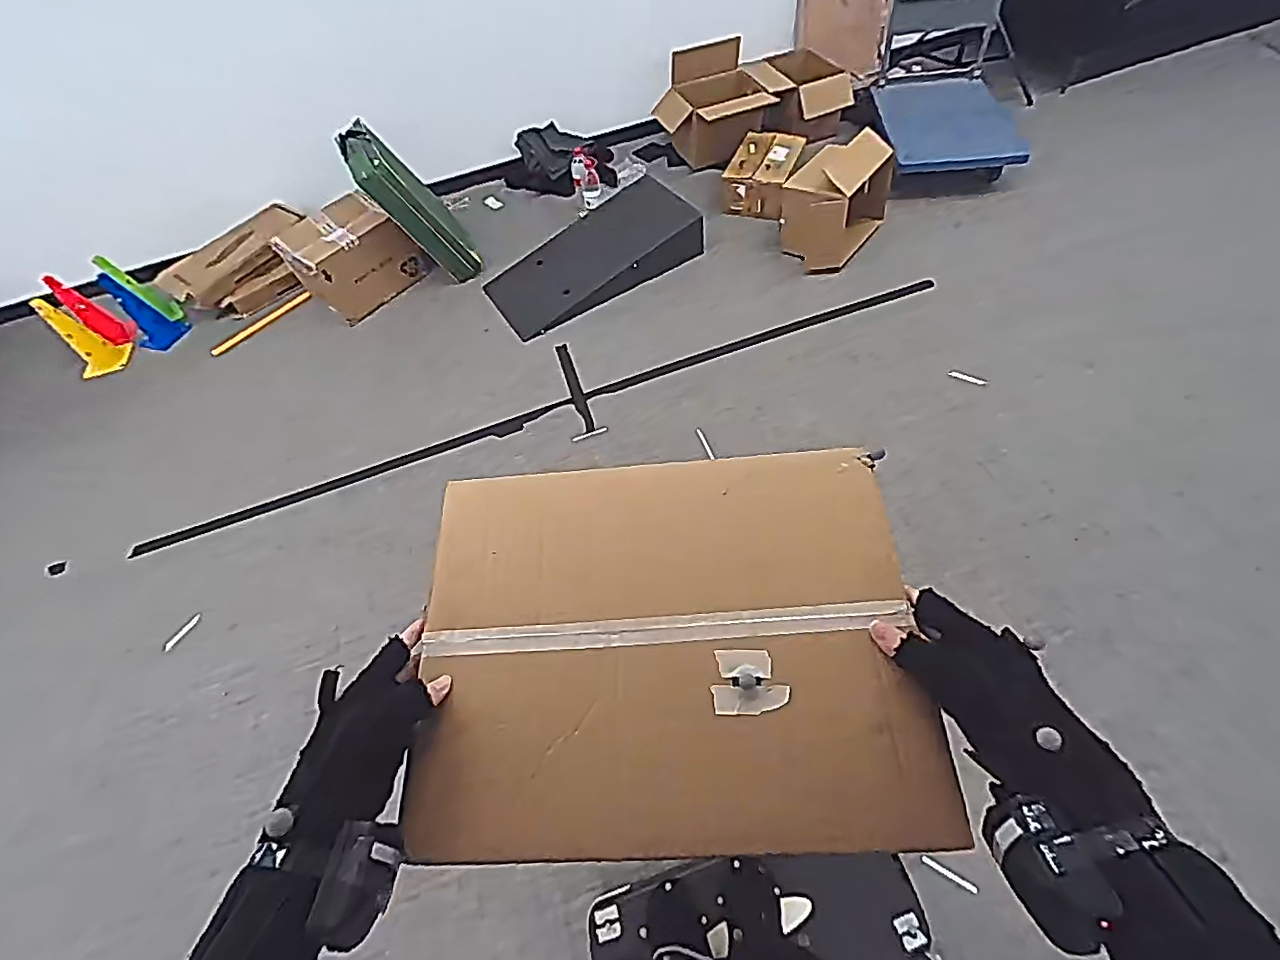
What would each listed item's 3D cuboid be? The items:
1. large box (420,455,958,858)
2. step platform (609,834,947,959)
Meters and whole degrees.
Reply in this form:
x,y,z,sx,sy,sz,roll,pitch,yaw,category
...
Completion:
x,y,z,sx,sy,sz,roll,pitch,yaw,category
0.036,0.197,0.592,0.408,0.320,0.320,-5,63,4,large box
0.279,0.936,1.167,0.684,0.204,0.286,-19,56,-6,step platform
